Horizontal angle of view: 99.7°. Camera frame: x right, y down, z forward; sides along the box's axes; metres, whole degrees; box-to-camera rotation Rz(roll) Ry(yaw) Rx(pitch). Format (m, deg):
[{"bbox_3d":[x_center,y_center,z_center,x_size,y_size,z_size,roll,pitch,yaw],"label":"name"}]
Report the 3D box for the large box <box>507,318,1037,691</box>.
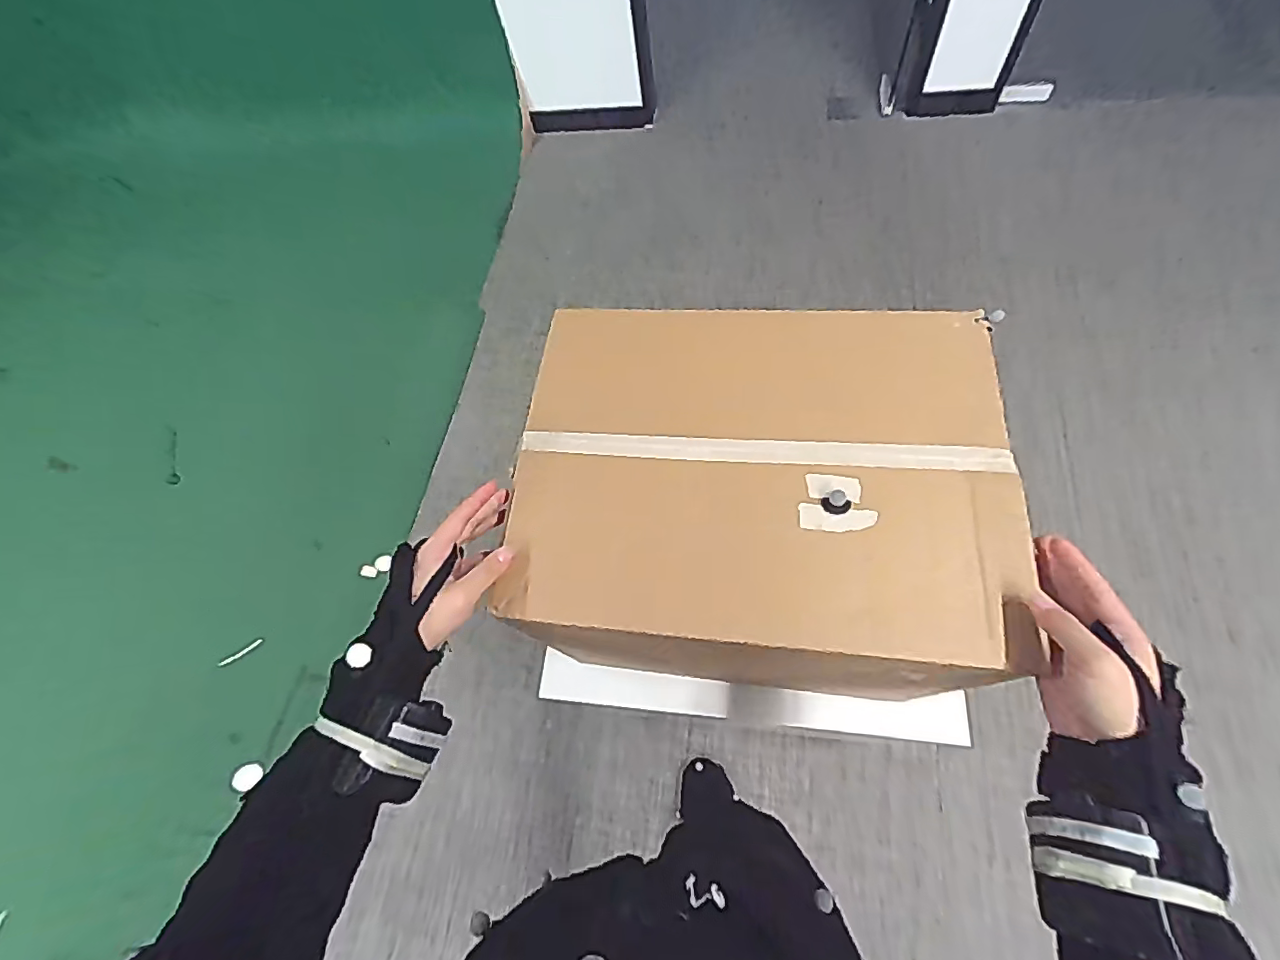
[{"bbox_3d":[0.116,0.042,0.603,0.408,0.320,0.320,3,66,8],"label":"large box"}]
